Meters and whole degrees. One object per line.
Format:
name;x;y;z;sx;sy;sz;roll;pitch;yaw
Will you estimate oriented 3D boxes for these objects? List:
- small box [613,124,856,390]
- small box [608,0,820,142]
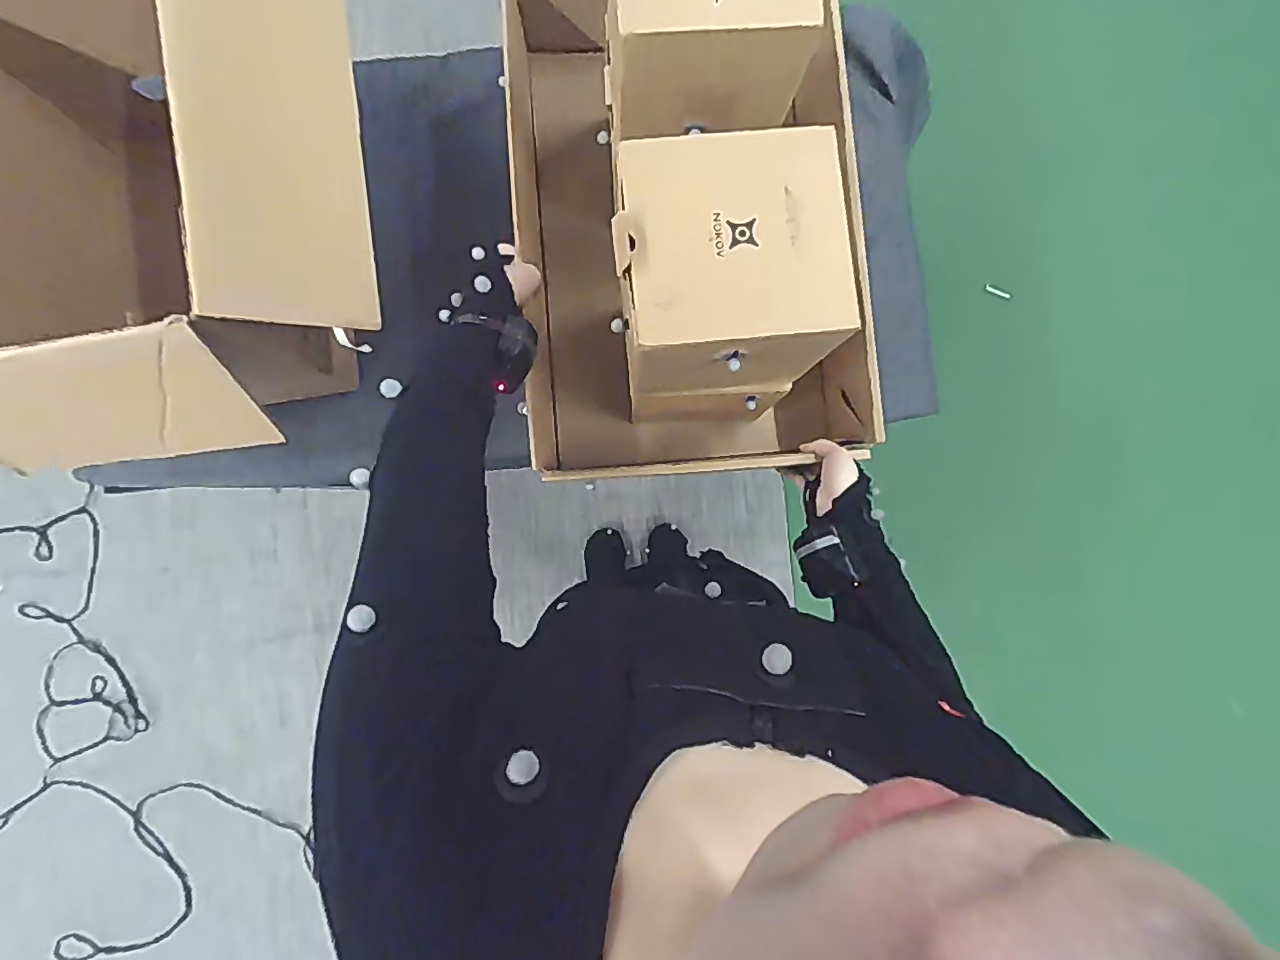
small box;0.071;-0.186;0.498;0.179;0.176;0.168;-6;87;-3
small box;0.055;-0.438;0.508;0.168;0.176;0.179;-4;90;-2
